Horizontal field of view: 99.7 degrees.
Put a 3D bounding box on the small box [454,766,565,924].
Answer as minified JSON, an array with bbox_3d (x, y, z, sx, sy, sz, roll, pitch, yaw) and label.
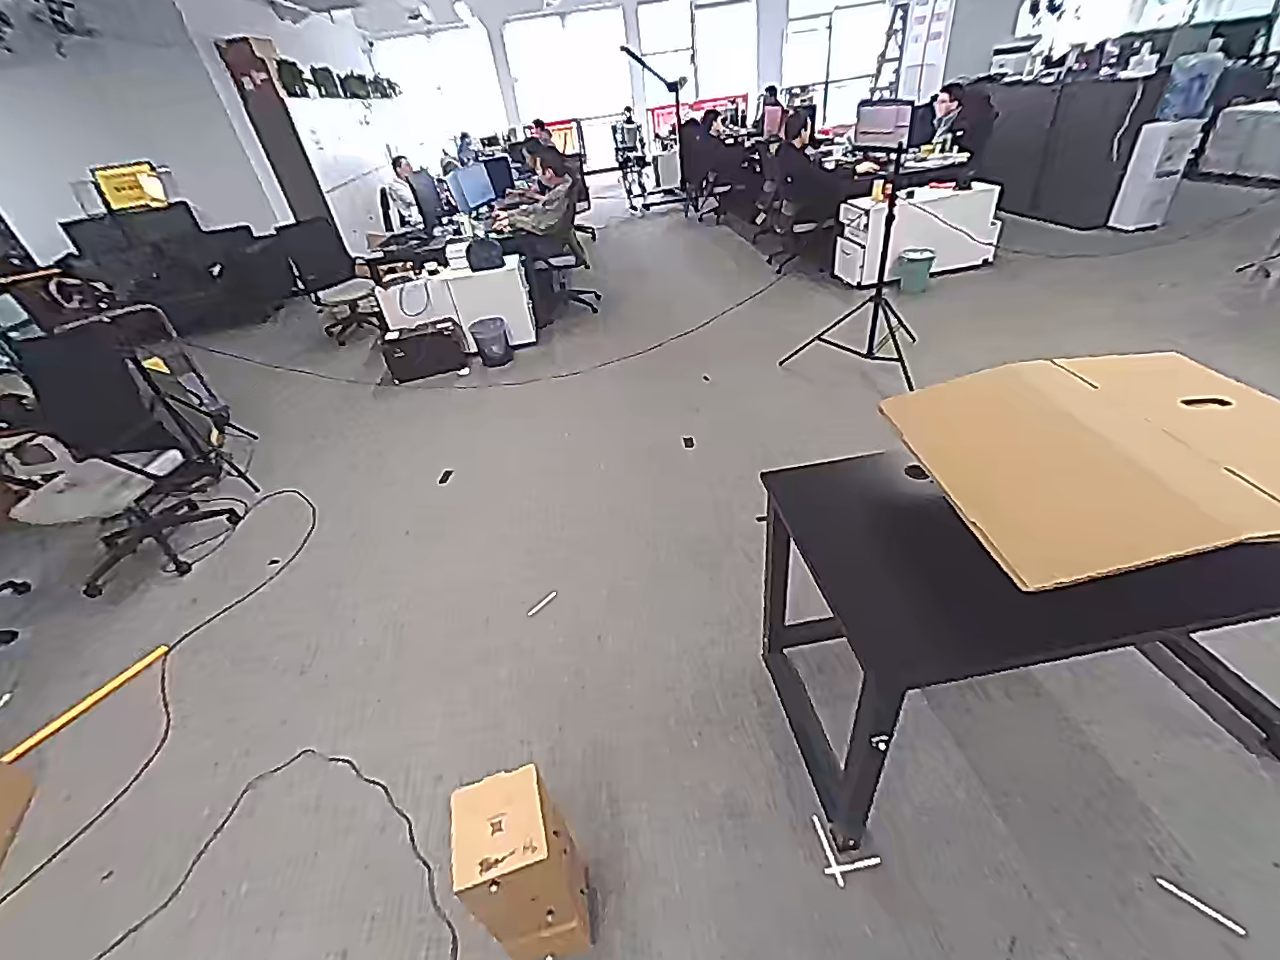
[{"bbox_3d":[-0.249,0.696,1.036,0.168,0.176,0.179,-15,35,-10],"label":"small box"}]

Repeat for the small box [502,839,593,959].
[{"bbox_3d":[-0.208,0.960,1.224,0.168,0.176,0.179,-12,37,-5],"label":"small box"}]

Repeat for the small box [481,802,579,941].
[{"bbox_3d":[-0.231,0.826,1.134,0.168,0.176,0.179,-14,35,-8],"label":"small box"}]
